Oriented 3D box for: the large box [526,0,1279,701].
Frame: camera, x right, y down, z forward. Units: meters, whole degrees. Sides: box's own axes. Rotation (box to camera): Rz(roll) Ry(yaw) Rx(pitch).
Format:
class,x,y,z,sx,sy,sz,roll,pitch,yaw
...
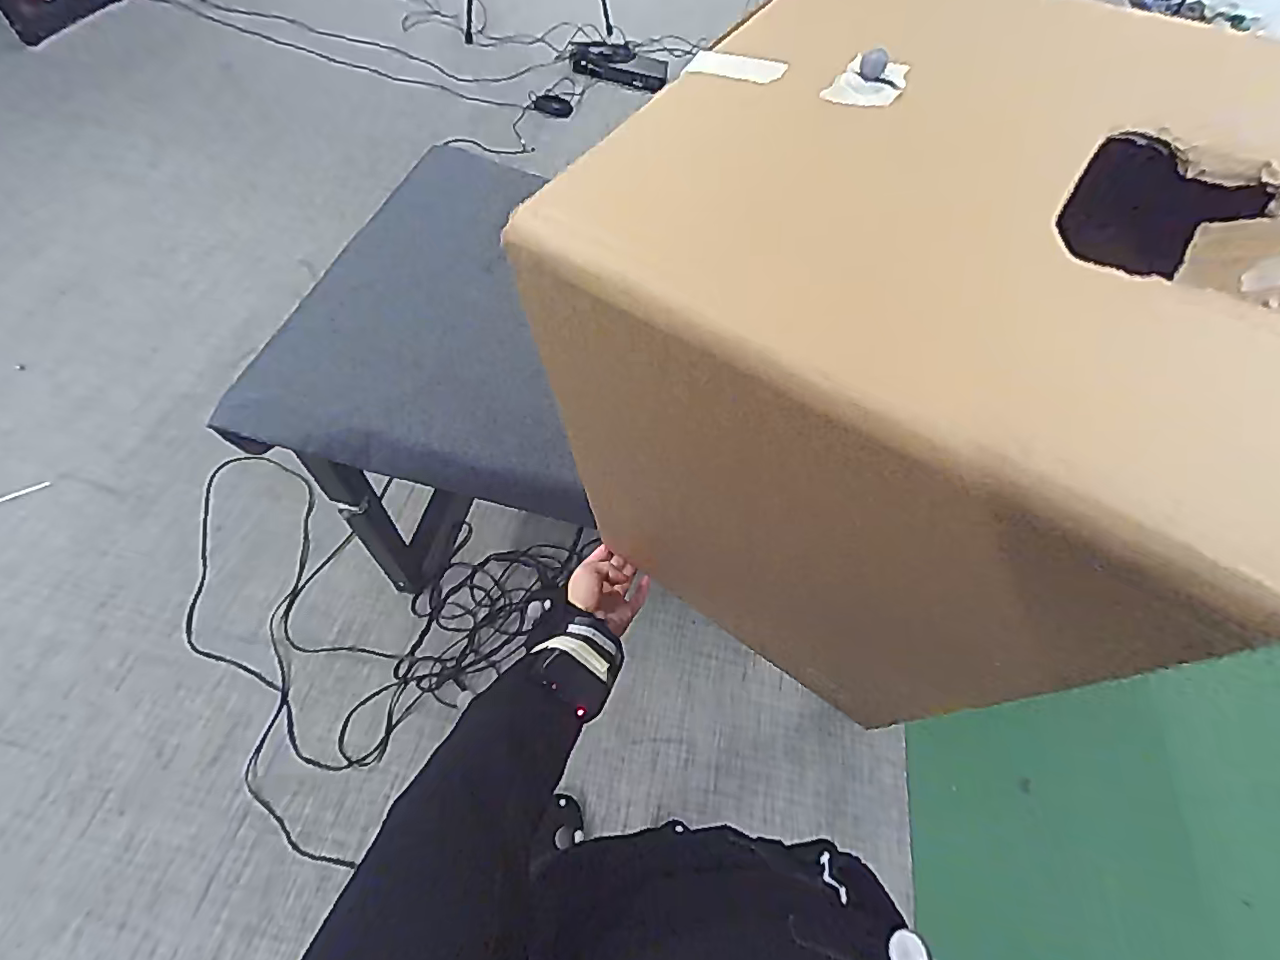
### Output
class,x,y,z,sx,sy,sz,roll,pitch,yaw
large box,0.161,-0.061,0.432,0.320,0.408,0.320,32,70,18
